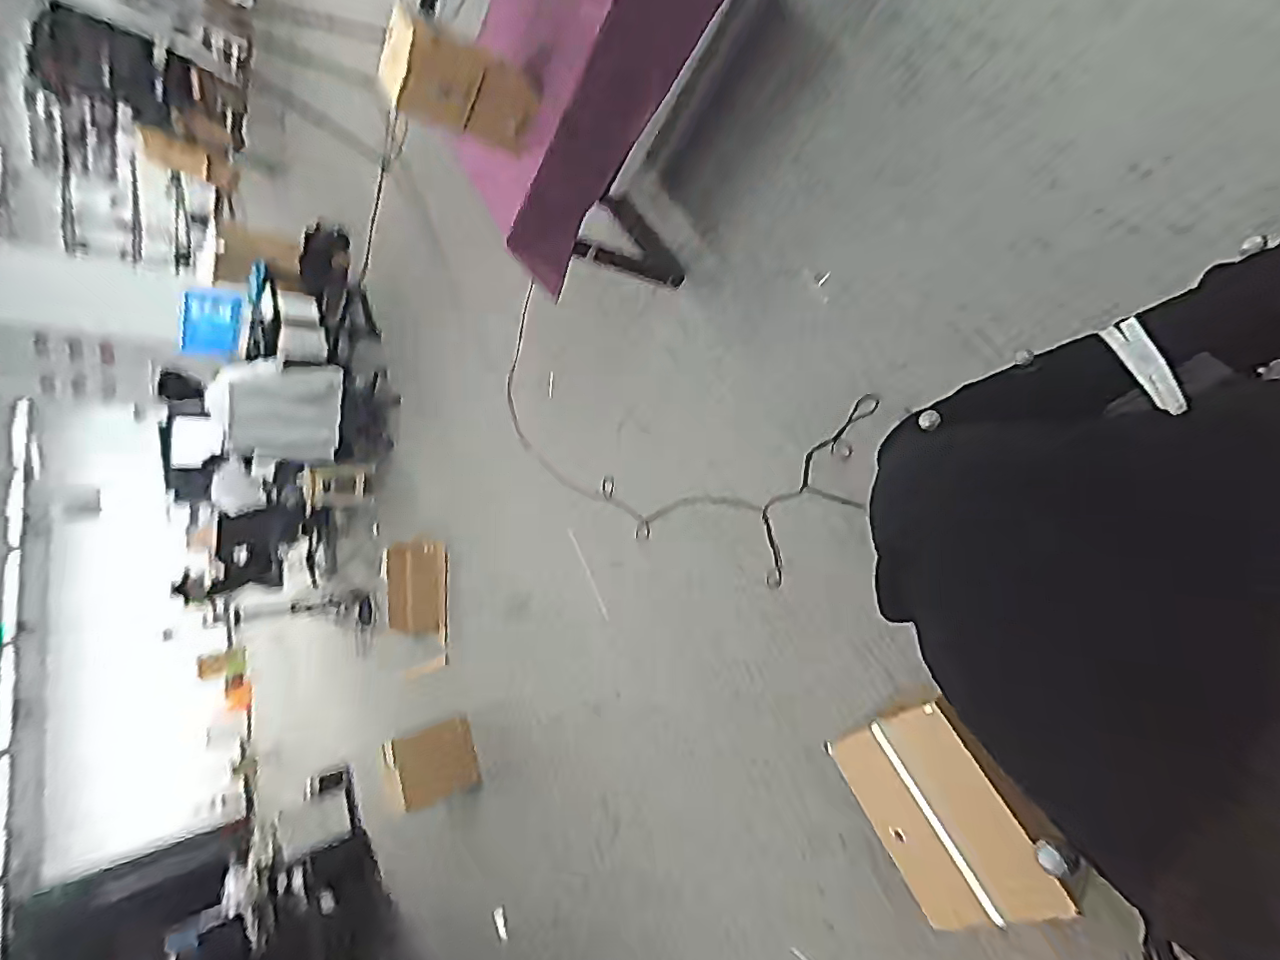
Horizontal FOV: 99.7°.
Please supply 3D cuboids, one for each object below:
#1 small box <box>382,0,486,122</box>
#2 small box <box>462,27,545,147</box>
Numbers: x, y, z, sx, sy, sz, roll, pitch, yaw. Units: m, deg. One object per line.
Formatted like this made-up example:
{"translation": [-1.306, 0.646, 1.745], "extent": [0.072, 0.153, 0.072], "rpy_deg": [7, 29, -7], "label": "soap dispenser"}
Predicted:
{"translation": [-0.495, -1.009, 1.306], "extent": [0.168, 0.176, 0.179], "rpy_deg": [-46, 61, 36], "label": "small box"}
{"translation": [-0.378, -1.021, 1.421], "extent": [0.168, 0.176, 0.179], "rpy_deg": [-47, 60, 36], "label": "small box"}
